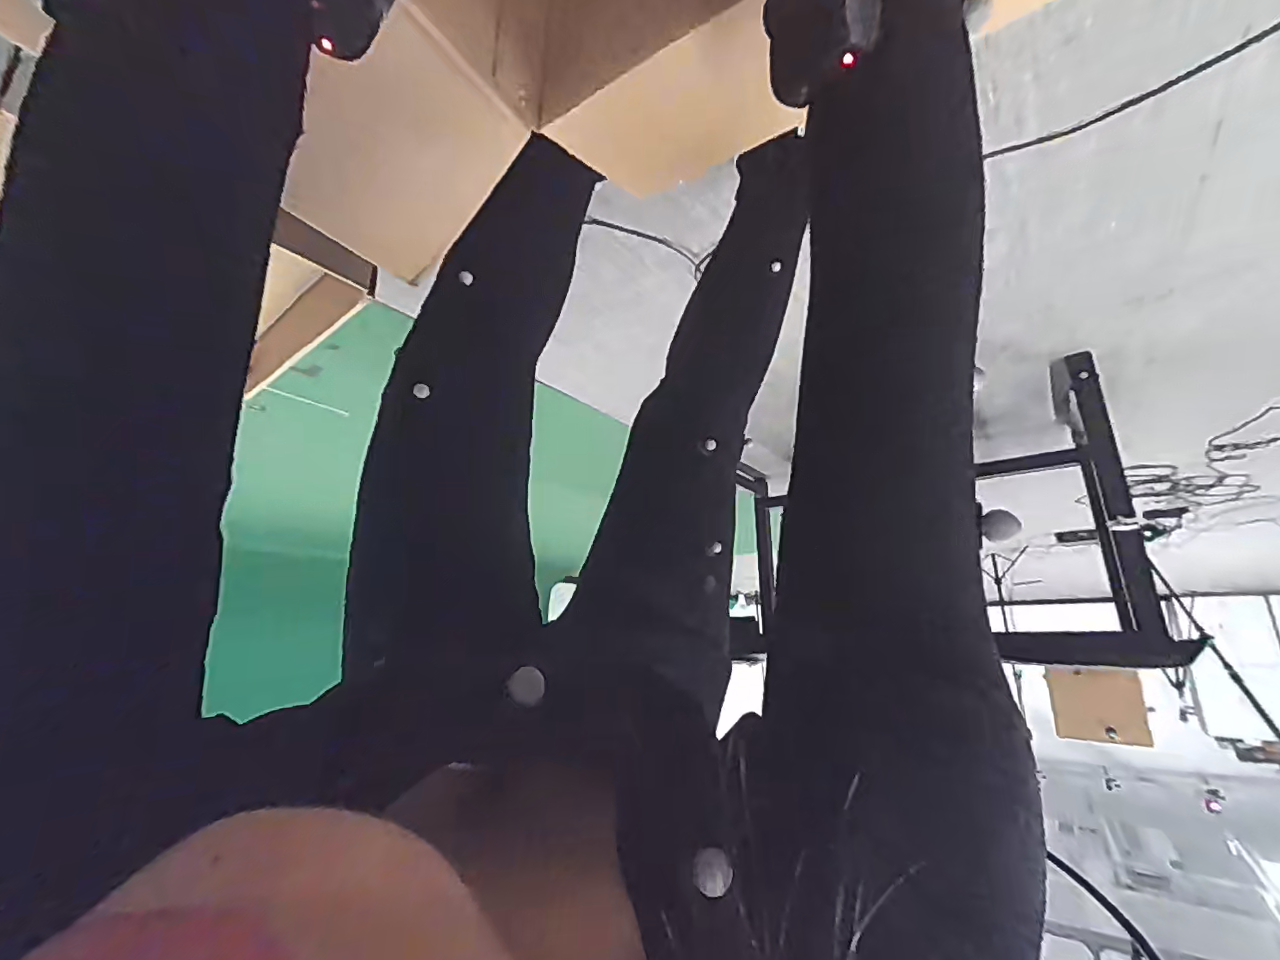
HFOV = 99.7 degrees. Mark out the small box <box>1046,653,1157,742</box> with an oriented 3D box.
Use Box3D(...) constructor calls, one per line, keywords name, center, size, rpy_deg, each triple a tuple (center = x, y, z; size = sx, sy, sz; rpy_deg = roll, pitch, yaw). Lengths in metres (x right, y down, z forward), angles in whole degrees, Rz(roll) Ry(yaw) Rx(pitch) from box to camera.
Box3D(name="small box", center=(1.061, 0.492, 1.247), size=(0.168, 0.176, 0.179), rpy_deg=(-15, 158, 40))
